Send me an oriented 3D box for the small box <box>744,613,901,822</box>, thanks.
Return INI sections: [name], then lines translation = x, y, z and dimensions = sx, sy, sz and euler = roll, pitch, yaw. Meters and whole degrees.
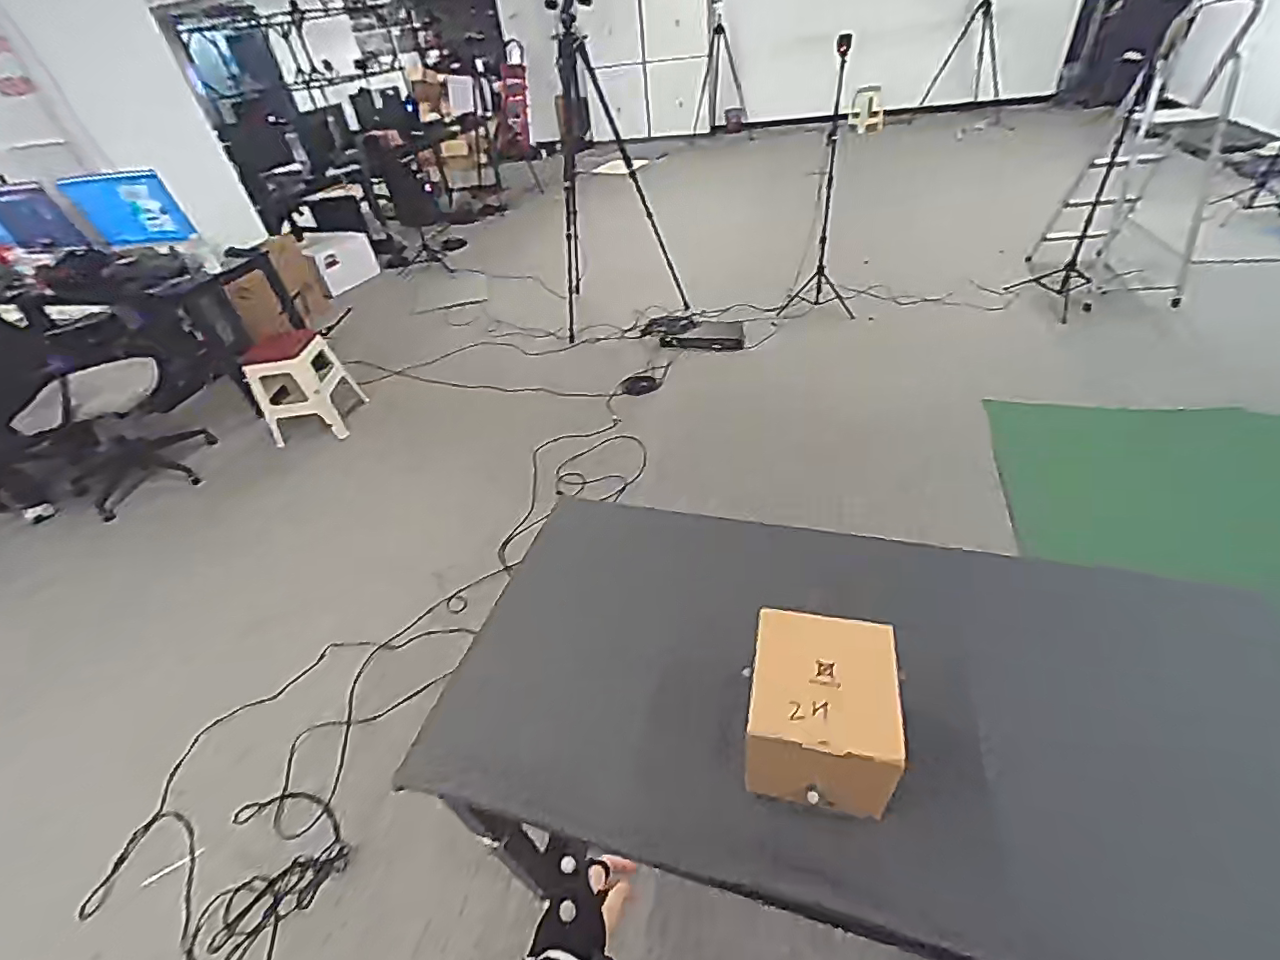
[small box]
translation = 0.227, 0.303, 0.700
dimensions = 0.168, 0.176, 0.179
euler = 5, 41, 15
